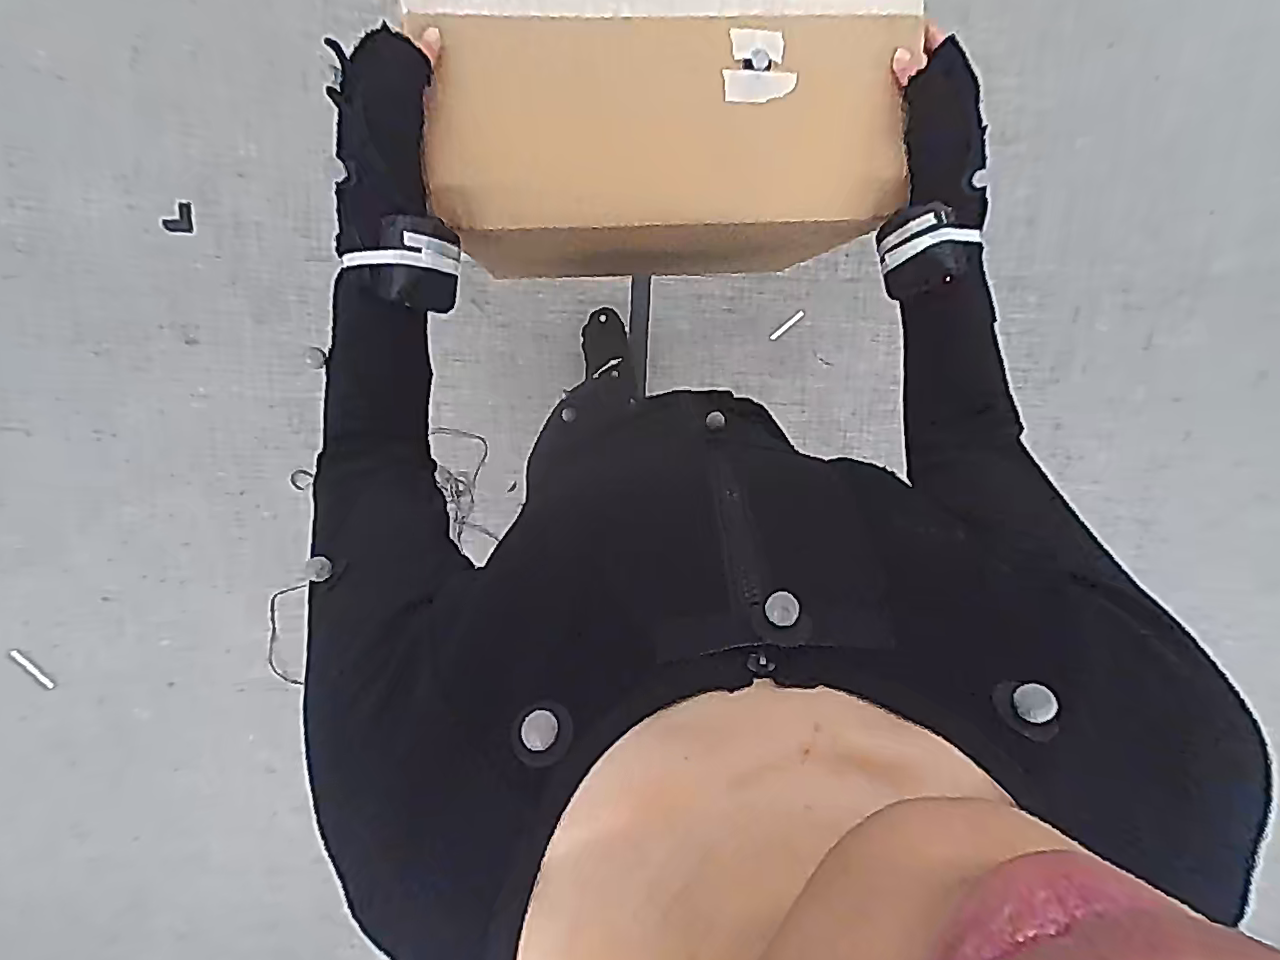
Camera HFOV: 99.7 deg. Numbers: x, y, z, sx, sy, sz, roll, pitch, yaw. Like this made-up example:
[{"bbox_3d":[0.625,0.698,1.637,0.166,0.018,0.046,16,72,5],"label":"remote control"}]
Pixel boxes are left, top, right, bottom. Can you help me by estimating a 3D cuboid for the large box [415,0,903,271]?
[{"bbox_3d":[0.005,-0.416,0.576,0.408,0.320,0.320,-4,105,-5],"label":"large box"}]
